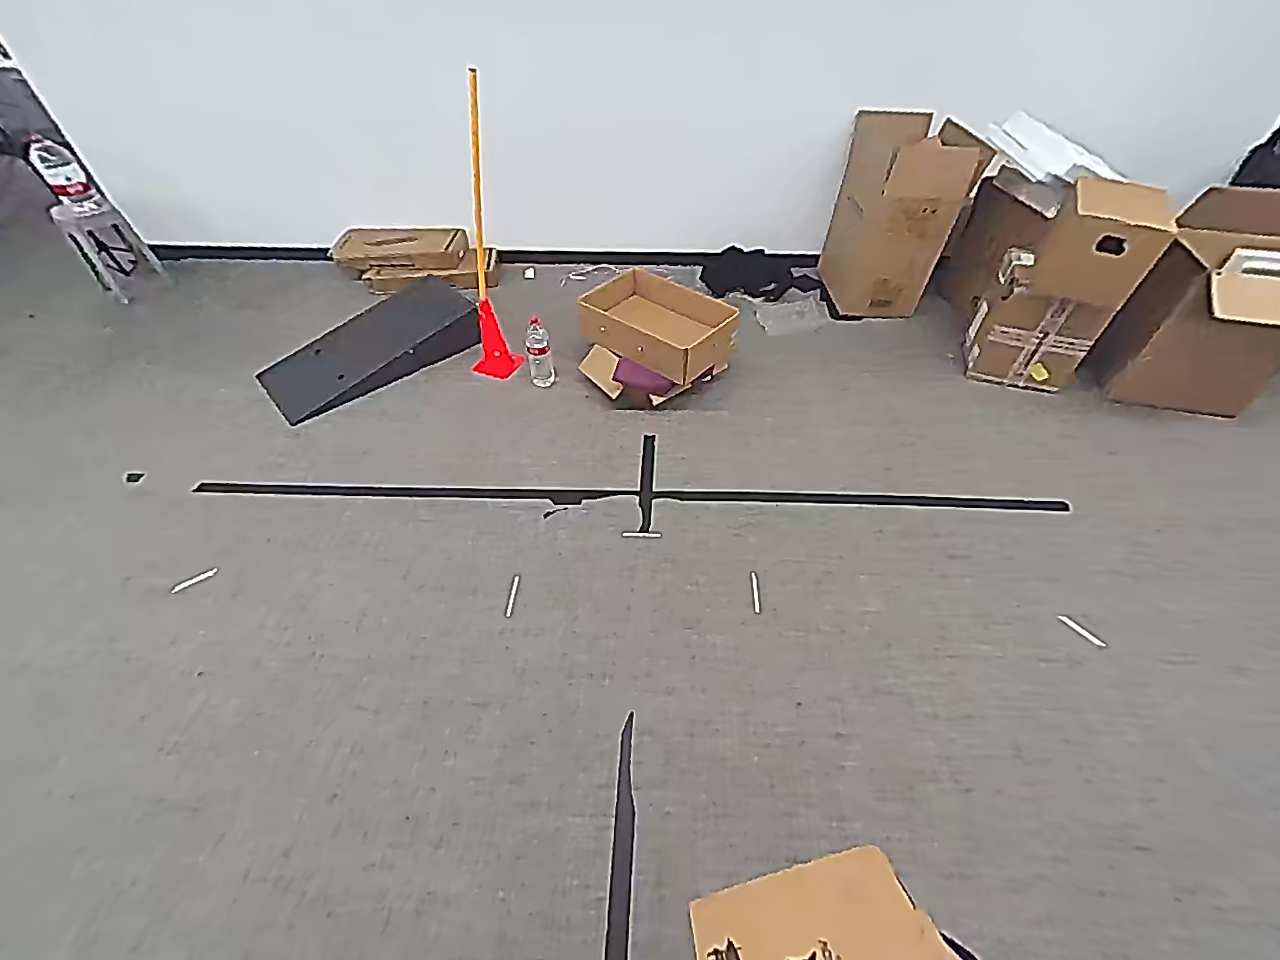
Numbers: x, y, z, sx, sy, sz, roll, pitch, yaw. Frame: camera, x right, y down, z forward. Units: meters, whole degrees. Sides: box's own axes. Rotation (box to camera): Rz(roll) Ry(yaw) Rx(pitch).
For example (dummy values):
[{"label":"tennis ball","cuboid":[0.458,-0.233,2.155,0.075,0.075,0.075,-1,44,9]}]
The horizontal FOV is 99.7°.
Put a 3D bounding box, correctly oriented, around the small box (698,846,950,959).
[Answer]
[{"label":"small box","cuboid":[0.158,0.435,0.411,0.179,0.176,0.168,-17,8,0]}]
